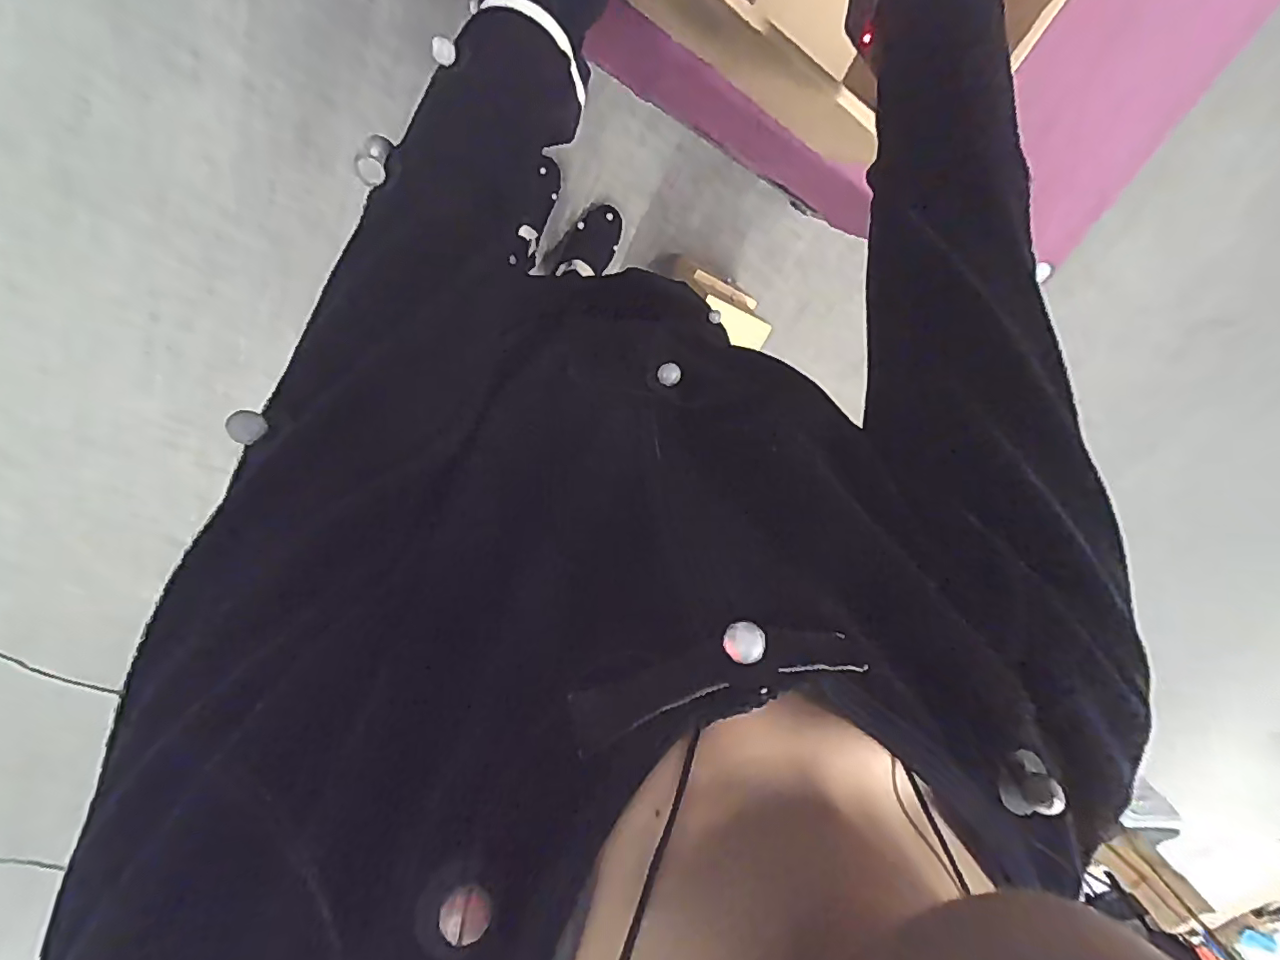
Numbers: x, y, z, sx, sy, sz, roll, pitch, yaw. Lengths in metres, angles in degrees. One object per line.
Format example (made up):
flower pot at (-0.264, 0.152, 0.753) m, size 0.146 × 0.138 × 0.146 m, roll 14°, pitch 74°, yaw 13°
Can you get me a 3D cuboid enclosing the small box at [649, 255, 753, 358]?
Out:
small box at (0.144, -0.435, 1.341) m, size 0.179 × 0.176 × 0.168 m, roll 20°, pitch 117°, yaw -22°
